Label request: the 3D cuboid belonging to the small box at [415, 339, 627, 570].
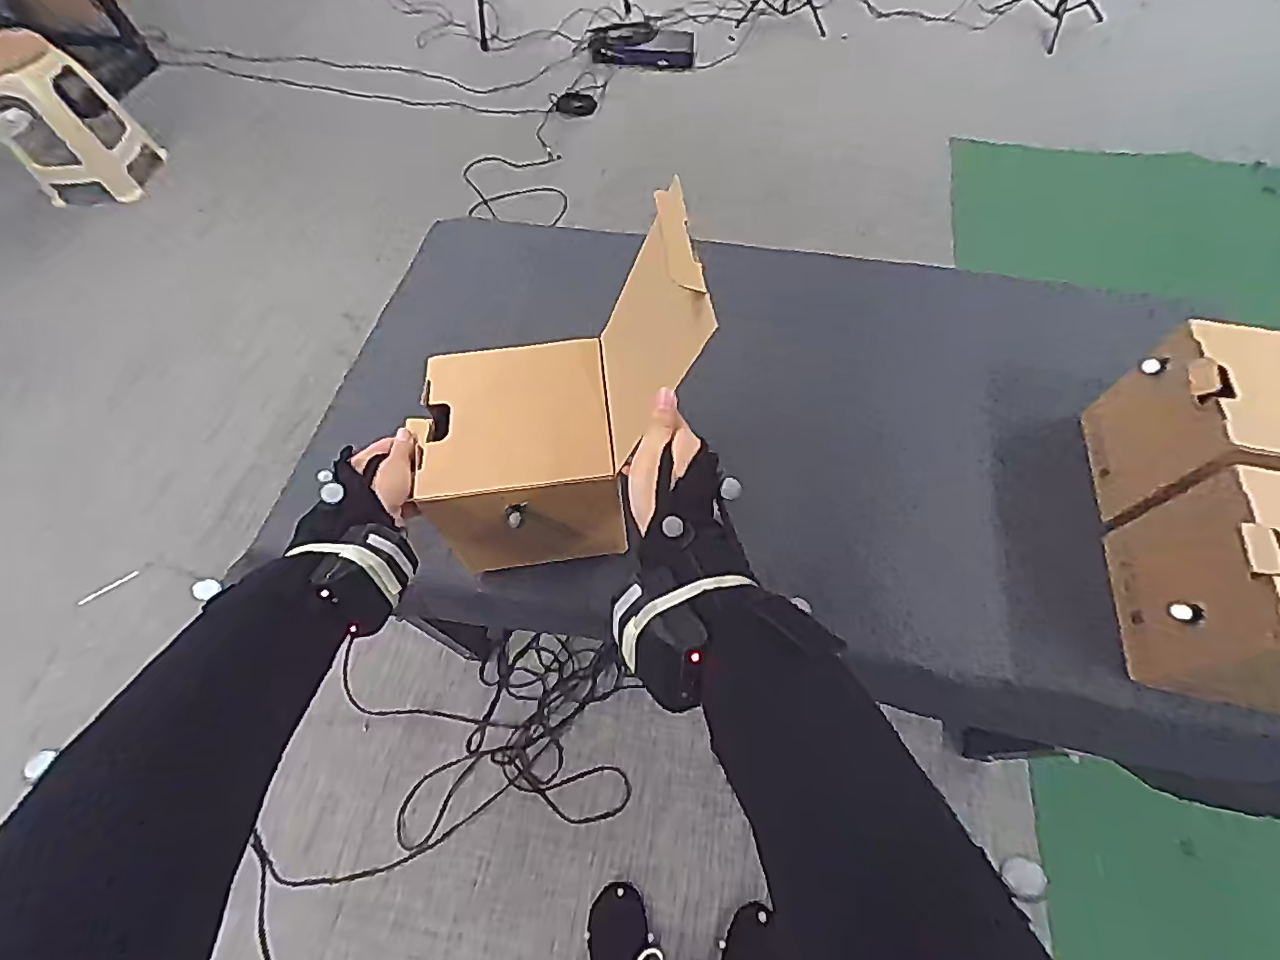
[{"bbox_3d":[-0.108,-0.019,0.560,0.179,0.176,0.168,-7,59,-1],"label":"small box"}]
